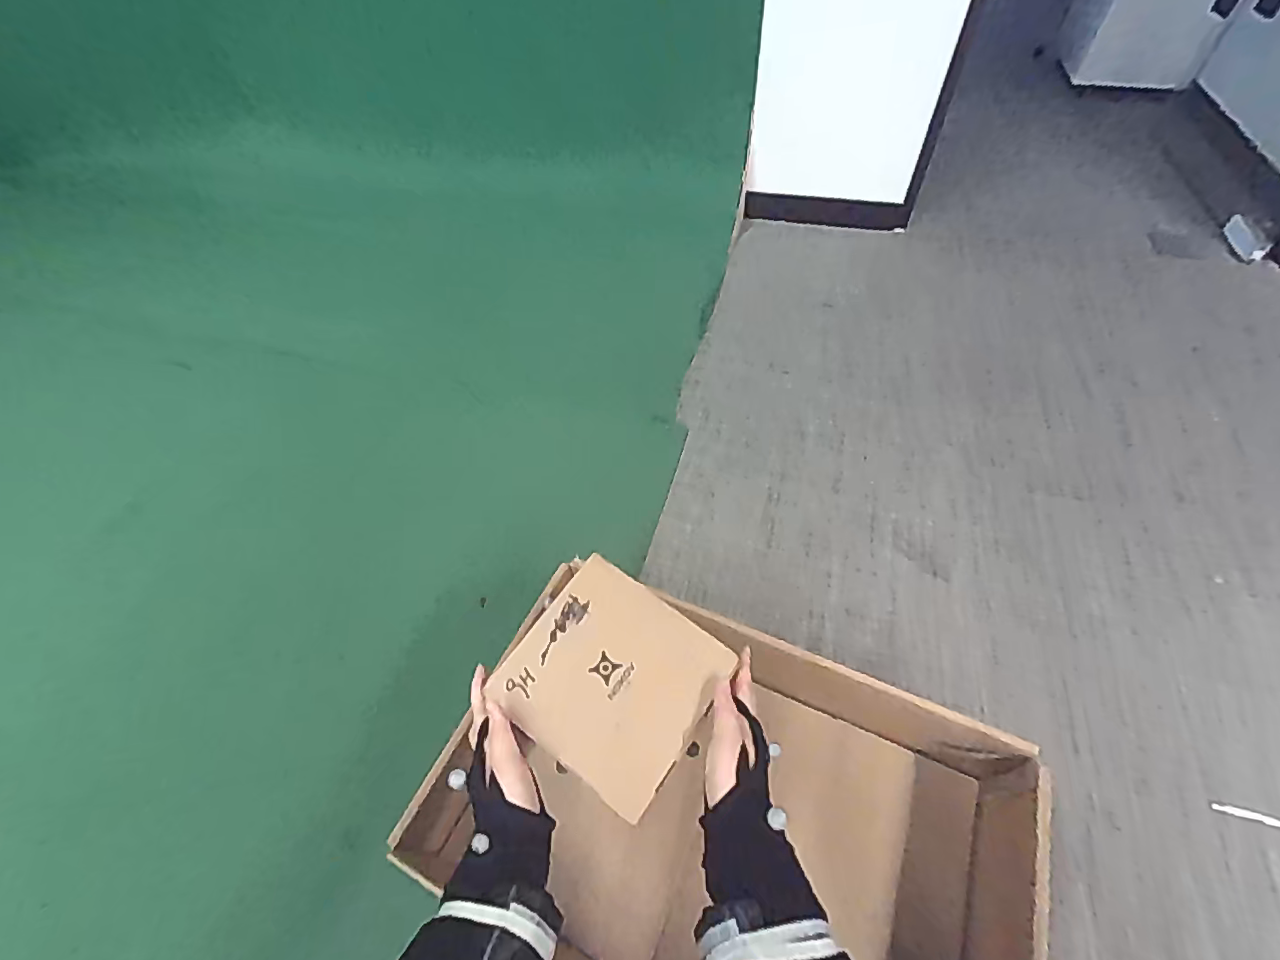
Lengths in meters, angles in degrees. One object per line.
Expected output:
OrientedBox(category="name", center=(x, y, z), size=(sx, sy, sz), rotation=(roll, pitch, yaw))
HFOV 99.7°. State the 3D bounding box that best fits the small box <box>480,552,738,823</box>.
OrientedBox(category="small box", center=(-0.024, 0.207, 0.554), size=(0.179, 0.176, 0.168), rotation=(32, 69, 17))
